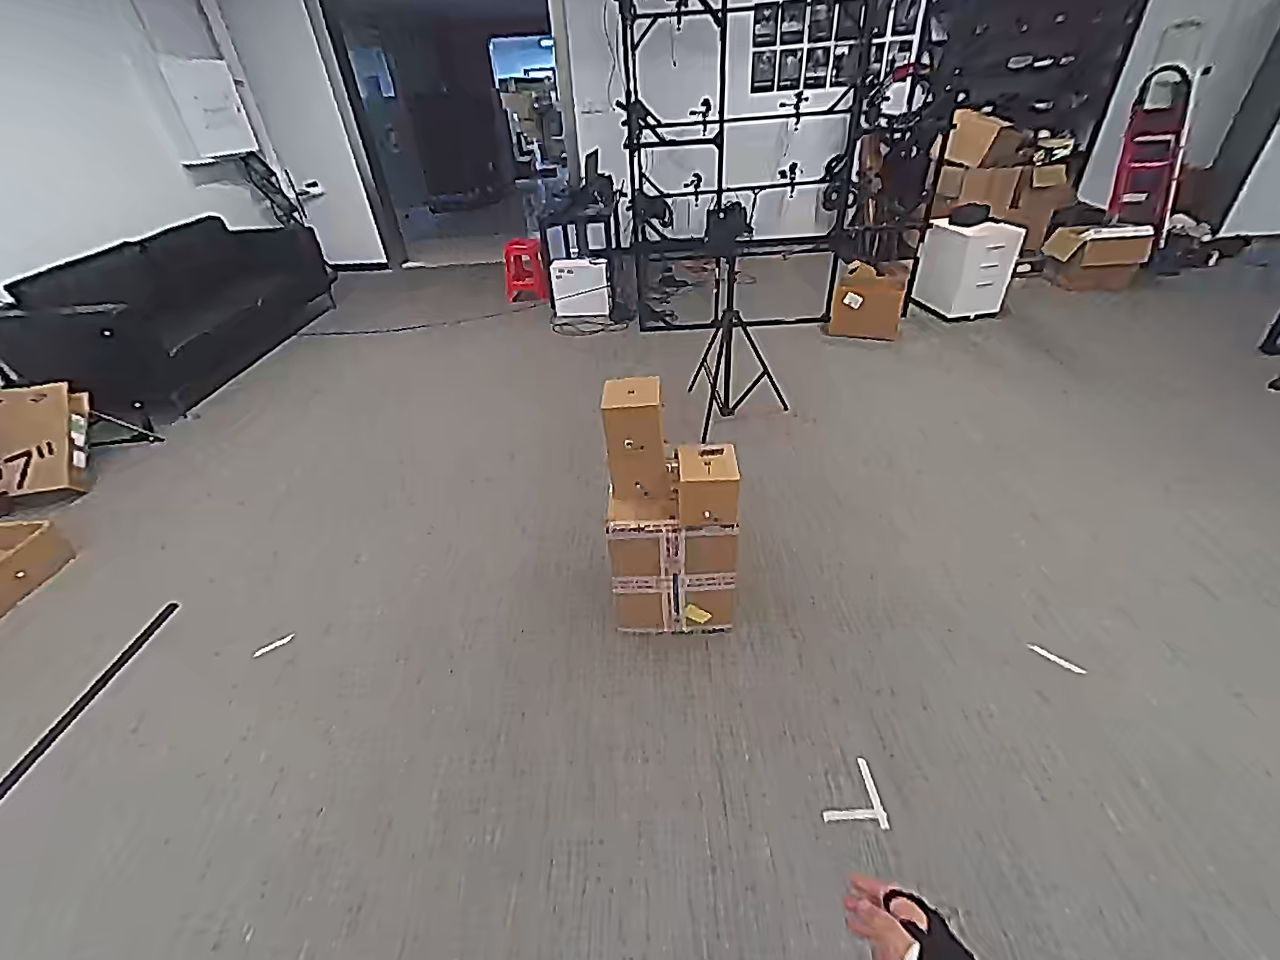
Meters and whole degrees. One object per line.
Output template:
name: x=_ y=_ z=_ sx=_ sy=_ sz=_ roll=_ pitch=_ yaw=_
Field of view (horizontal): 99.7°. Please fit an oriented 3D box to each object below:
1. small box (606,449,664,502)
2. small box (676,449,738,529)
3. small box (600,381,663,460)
small box: x=-0.011 y=-0.048 z=1.709 sx=0.168 sy=0.176 sz=0.179 roll=-3 pitch=37 yaw=4
small box: x=0.191 y=0.025 z=1.593 sx=0.168 sy=0.176 sz=0.179 roll=-1 pitch=38 yaw=2
small box: x=-0.021 y=-0.177 z=1.610 sx=0.168 sy=0.176 sz=0.179 roll=-3 pitch=38 yaw=4
